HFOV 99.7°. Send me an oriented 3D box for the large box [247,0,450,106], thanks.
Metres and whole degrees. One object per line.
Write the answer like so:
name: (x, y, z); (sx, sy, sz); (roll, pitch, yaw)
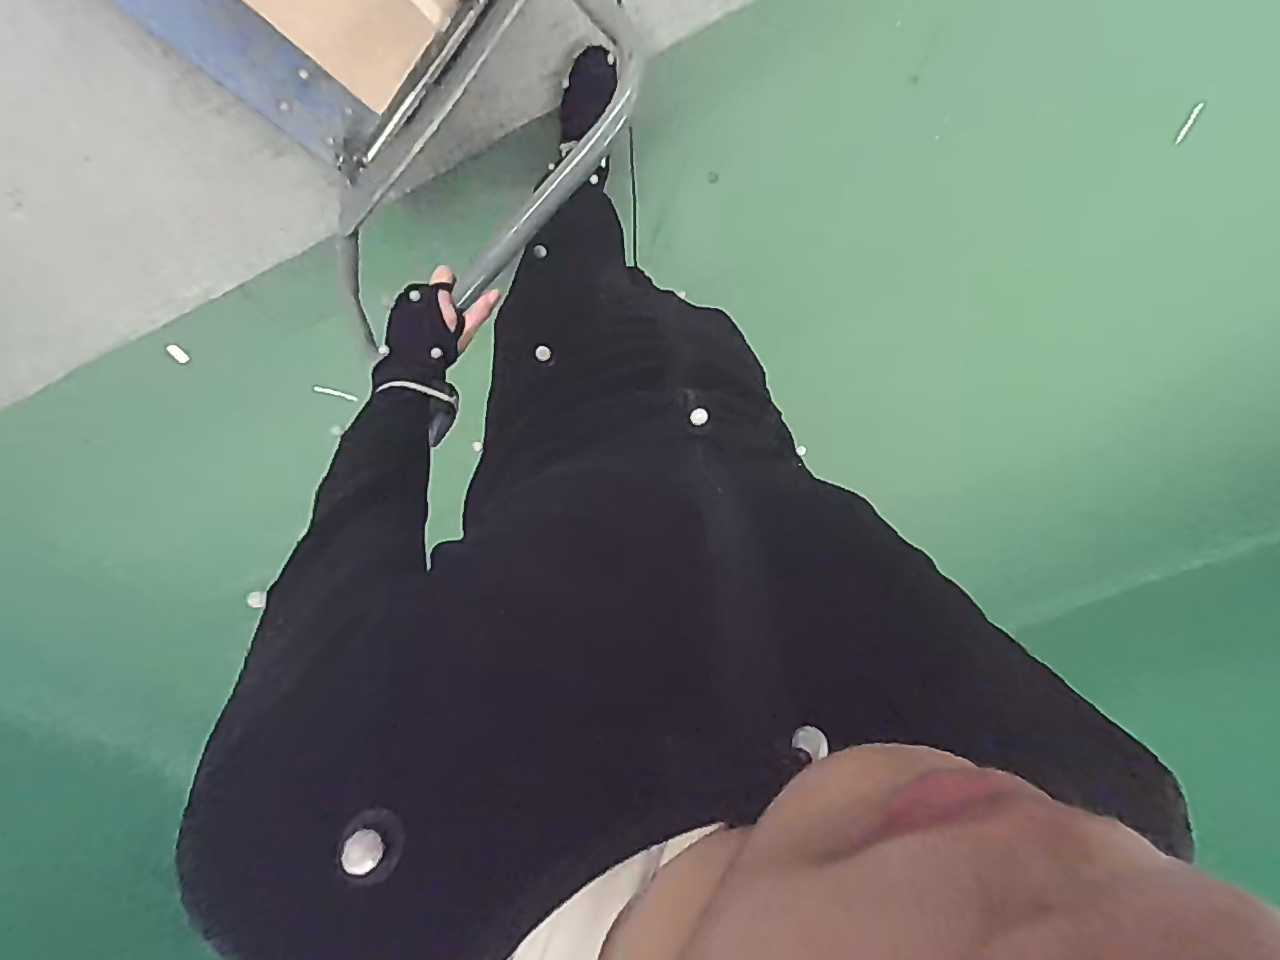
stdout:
large box: (-0.435, -0.807, 0.695); (0.320, 0.320, 0.408); (-39, 136, 21)
